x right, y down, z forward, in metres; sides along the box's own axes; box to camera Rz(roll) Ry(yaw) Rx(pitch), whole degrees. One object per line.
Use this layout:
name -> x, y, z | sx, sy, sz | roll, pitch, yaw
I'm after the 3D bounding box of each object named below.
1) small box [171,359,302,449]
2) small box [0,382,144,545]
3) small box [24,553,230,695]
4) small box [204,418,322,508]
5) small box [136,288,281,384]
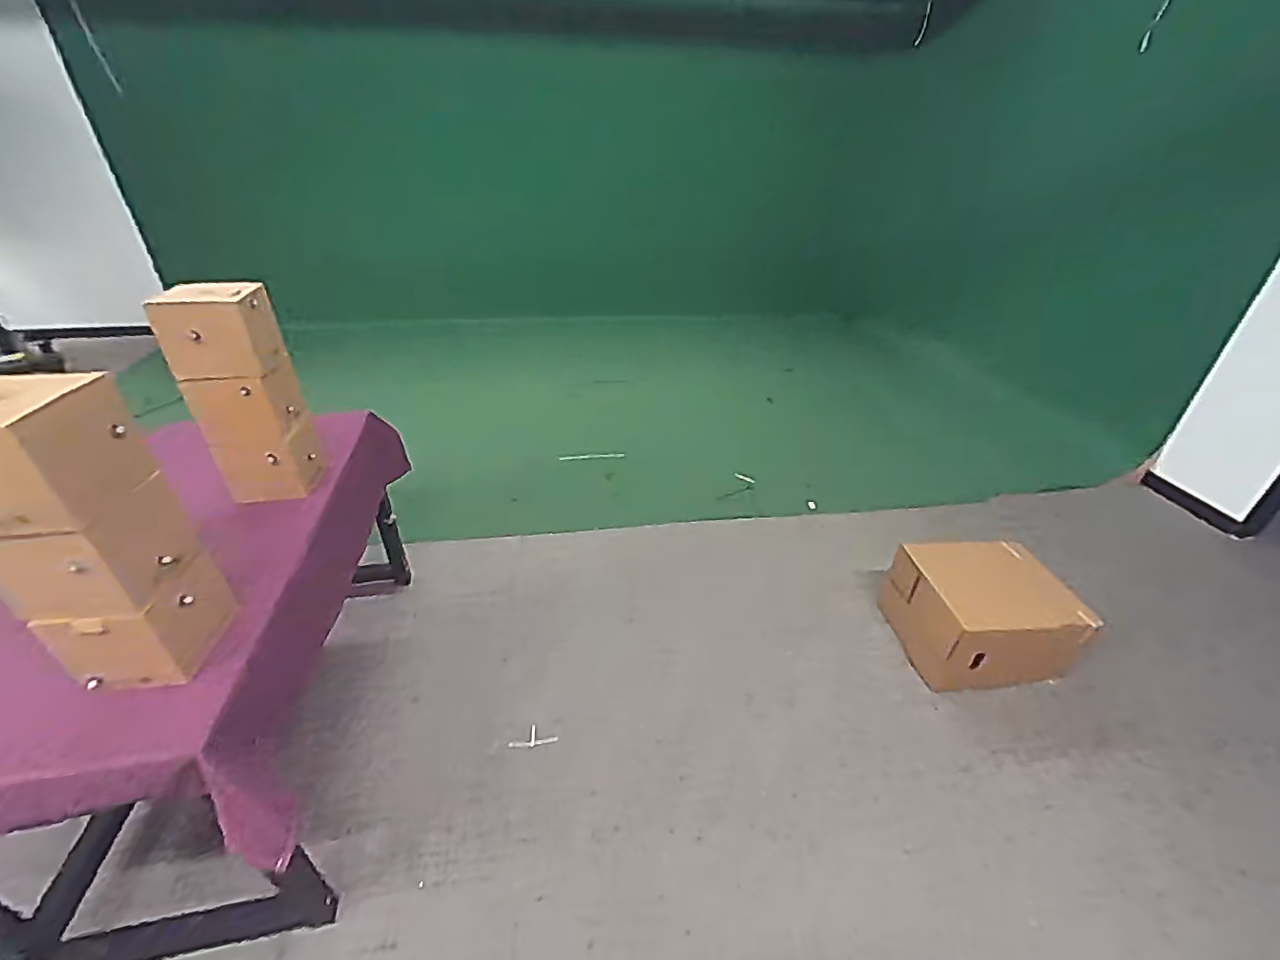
small box -> -0.956, -0.183, 1.300 | 0.179, 0.176, 0.168 | -4, 33, -9
small box -> -0.857, -0.026, 0.756 | 0.168, 0.176, 0.179 | -3, 33, -6
small box -> -0.857, 0.250, 0.933 | 0.168, 0.176, 0.179 | -3, 32, -7
small box -> -0.949, -0.044, 1.385 | 0.179, 0.176, 0.168 | -5, 33, -9
small box -> -0.950, -0.321, 1.211 | 0.179, 0.176, 0.168 | -7, 34, -11
